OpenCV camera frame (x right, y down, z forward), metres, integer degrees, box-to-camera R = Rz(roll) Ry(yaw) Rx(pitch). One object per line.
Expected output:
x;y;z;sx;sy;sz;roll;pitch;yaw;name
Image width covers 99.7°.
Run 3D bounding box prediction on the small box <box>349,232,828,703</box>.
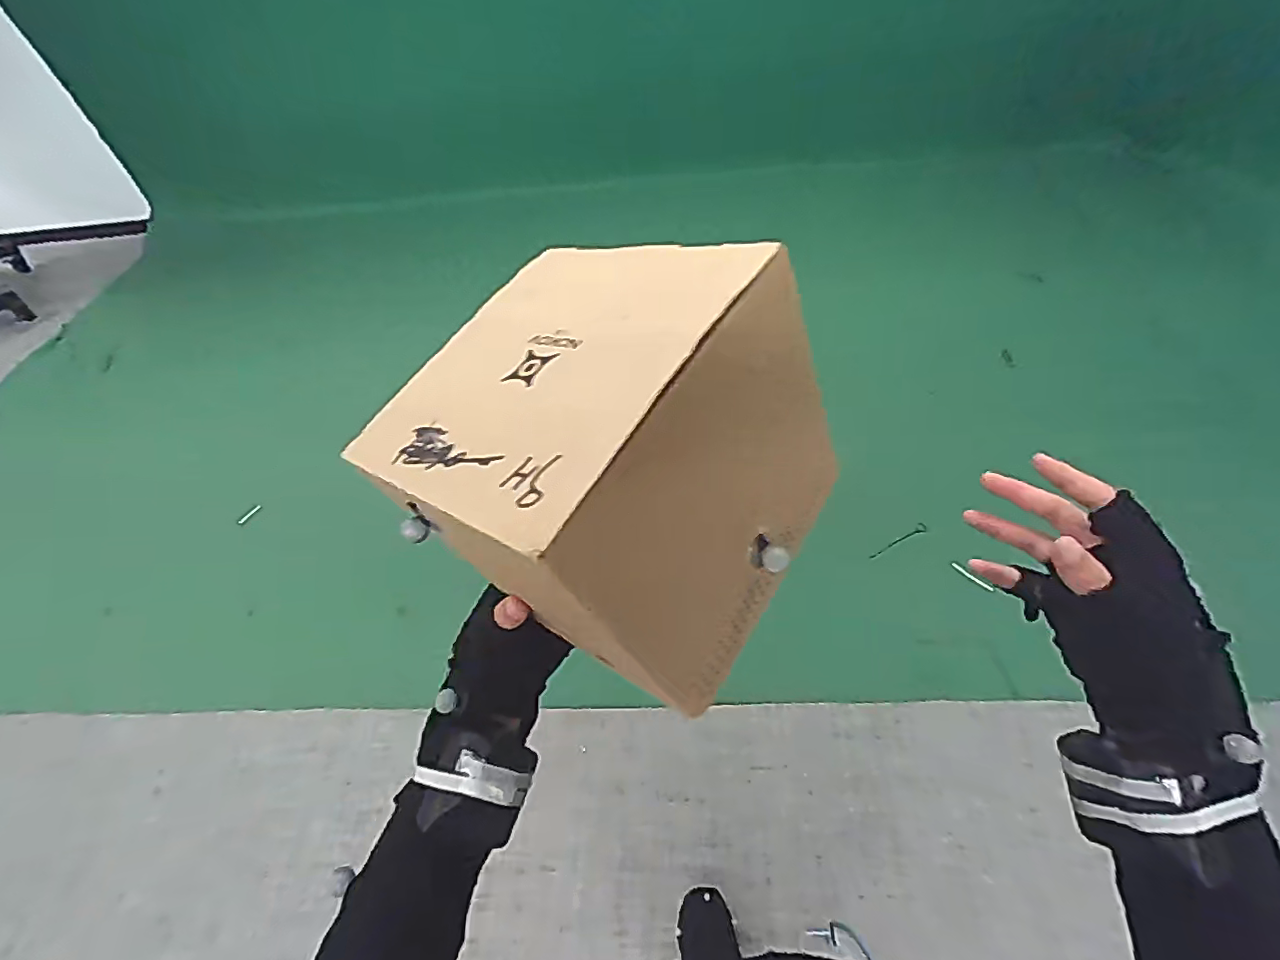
-0.010;-0.013;0.306;0.168;0.176;0.179;19;63;40;small box
